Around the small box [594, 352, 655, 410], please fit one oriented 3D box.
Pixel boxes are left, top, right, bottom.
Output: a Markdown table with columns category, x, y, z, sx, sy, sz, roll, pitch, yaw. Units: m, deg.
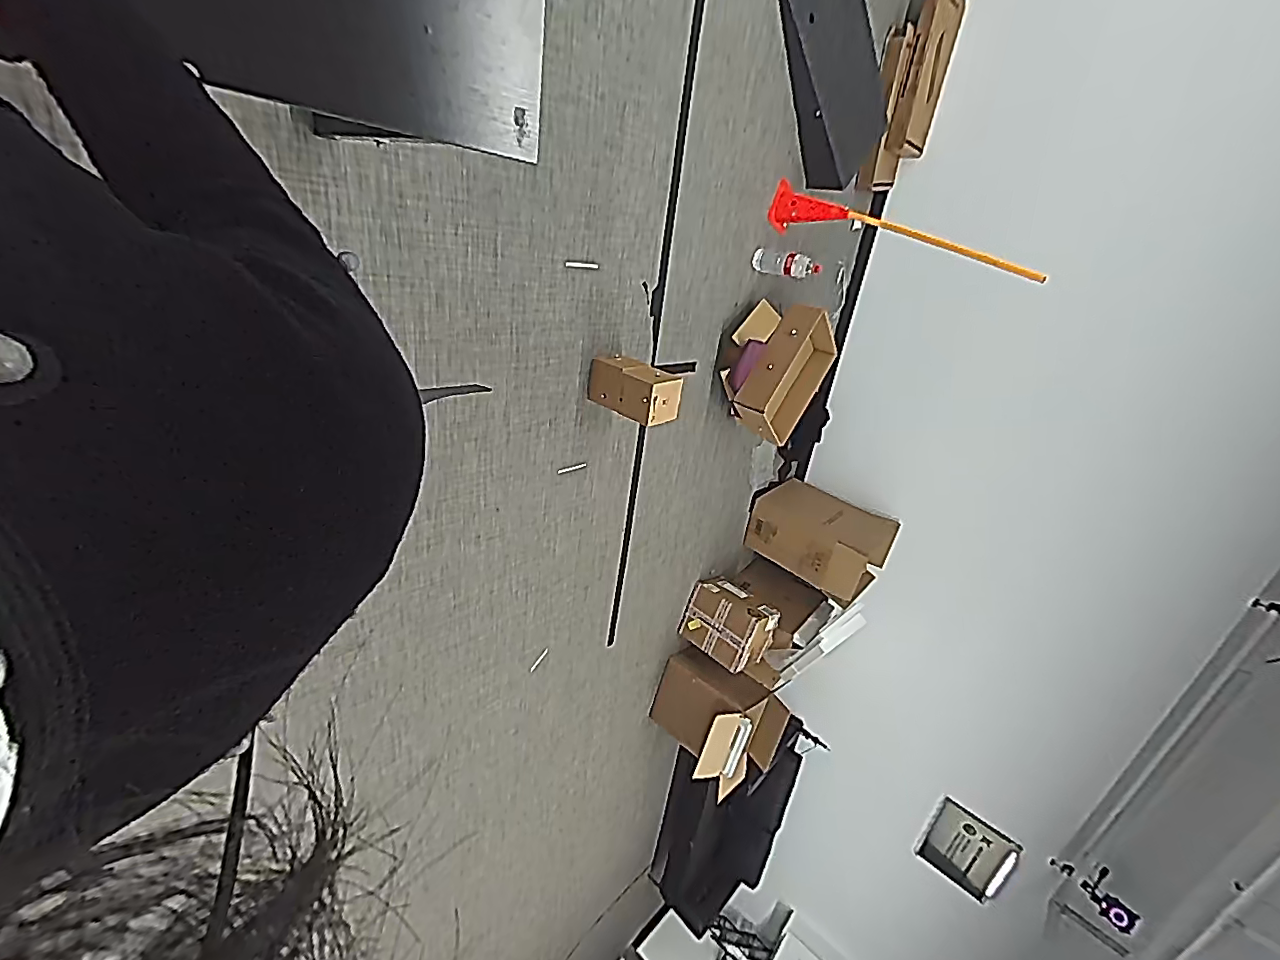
| category | x | y | z | sx | sy | sz | roll | pitch | yaw |
| --- | --- | --- | --- | --- | --- | --- | --- | --- | --- |
| small box | -0.066 | -0.395 | 2.137 | 0.168 | 0.176 | 0.179 | -20 | 126 | -45 |

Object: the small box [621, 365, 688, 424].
| category | x | y | z | sx | sy | sz | roll | pitch | yaw |
| --- | --- | --- | --- | --- | --- | --- | --- | --- | --- |
| small box | 0.052 | -0.330 | 2.043 | 0.179 | 0.176 | 0.168 | -22 | 129 | -44 |
